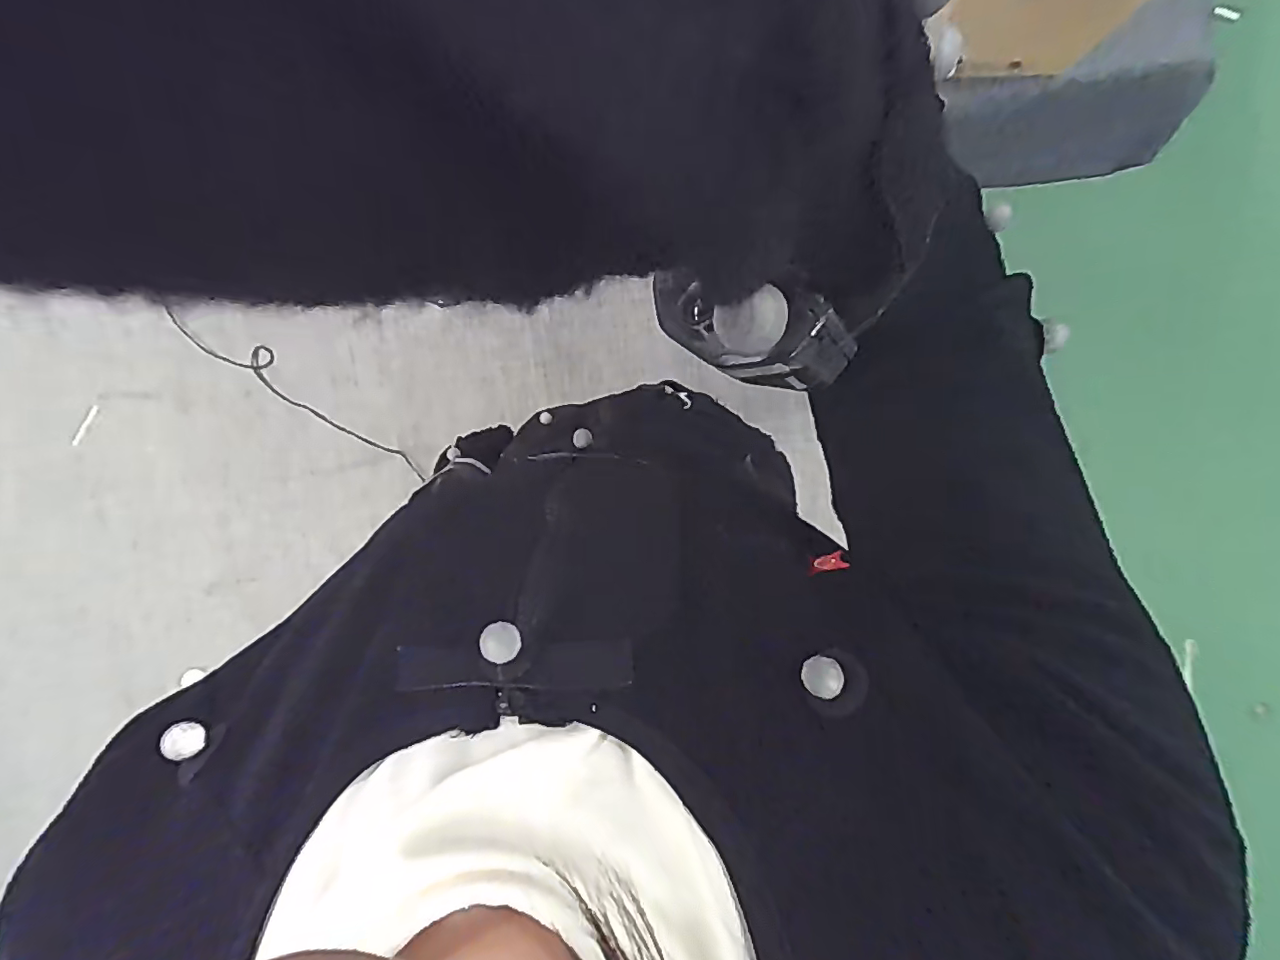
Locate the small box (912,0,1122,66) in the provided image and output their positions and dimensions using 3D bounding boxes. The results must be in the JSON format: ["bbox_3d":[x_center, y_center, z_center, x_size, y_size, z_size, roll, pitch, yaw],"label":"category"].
[{"bbox_3d":[0.378,-0.530,0.512,0.168,0.176,0.179,2,97,4],"label":"small box"}]
